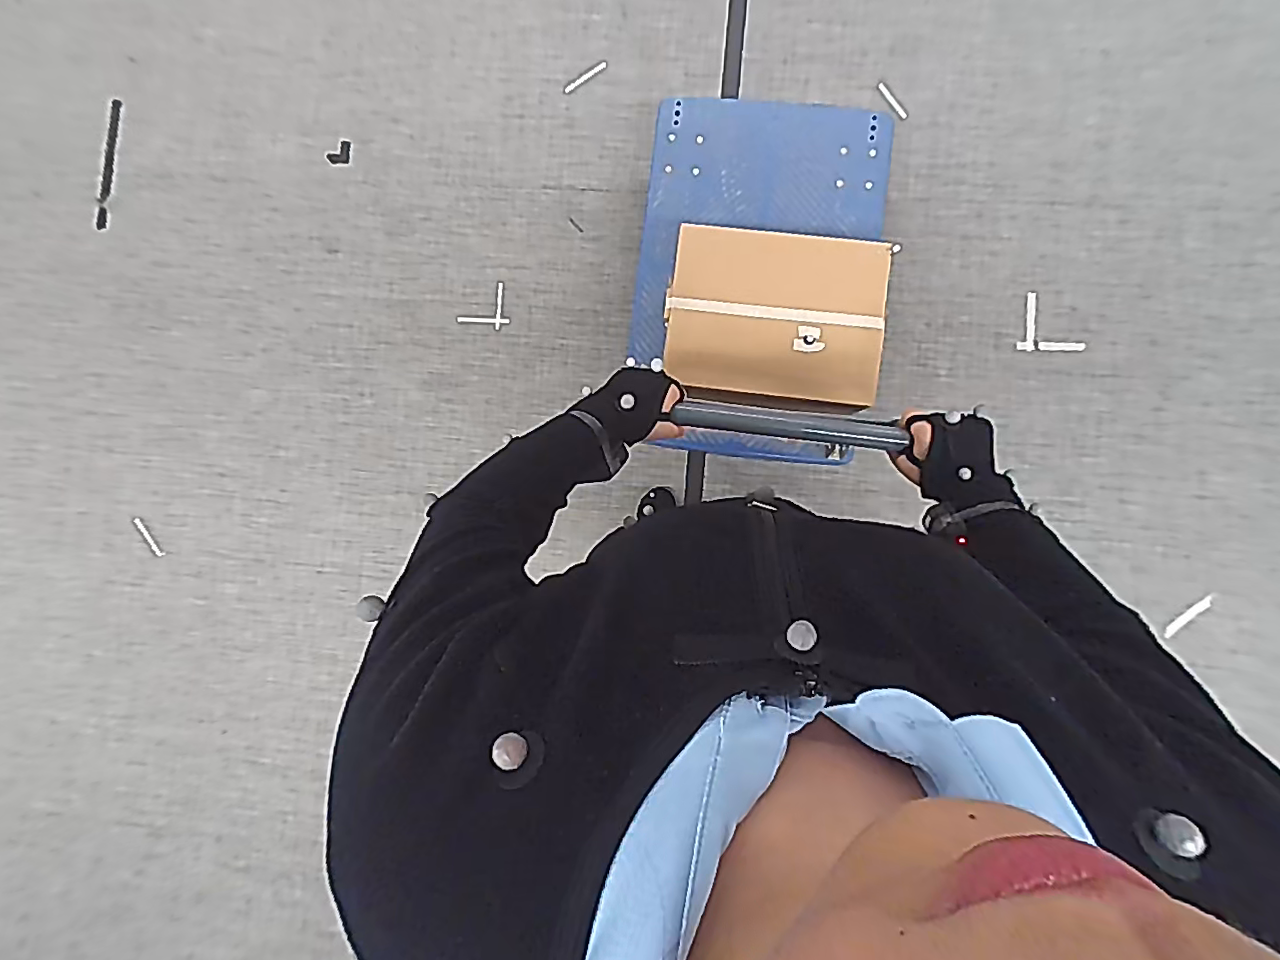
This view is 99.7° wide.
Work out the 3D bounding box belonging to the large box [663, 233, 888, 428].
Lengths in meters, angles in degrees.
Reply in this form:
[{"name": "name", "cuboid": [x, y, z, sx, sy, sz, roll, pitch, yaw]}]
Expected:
[{"name": "large box", "cuboid": [0.262, -0.300, 1.179, 0.408, 0.320, 0.320, 7, 90, 3]}]
